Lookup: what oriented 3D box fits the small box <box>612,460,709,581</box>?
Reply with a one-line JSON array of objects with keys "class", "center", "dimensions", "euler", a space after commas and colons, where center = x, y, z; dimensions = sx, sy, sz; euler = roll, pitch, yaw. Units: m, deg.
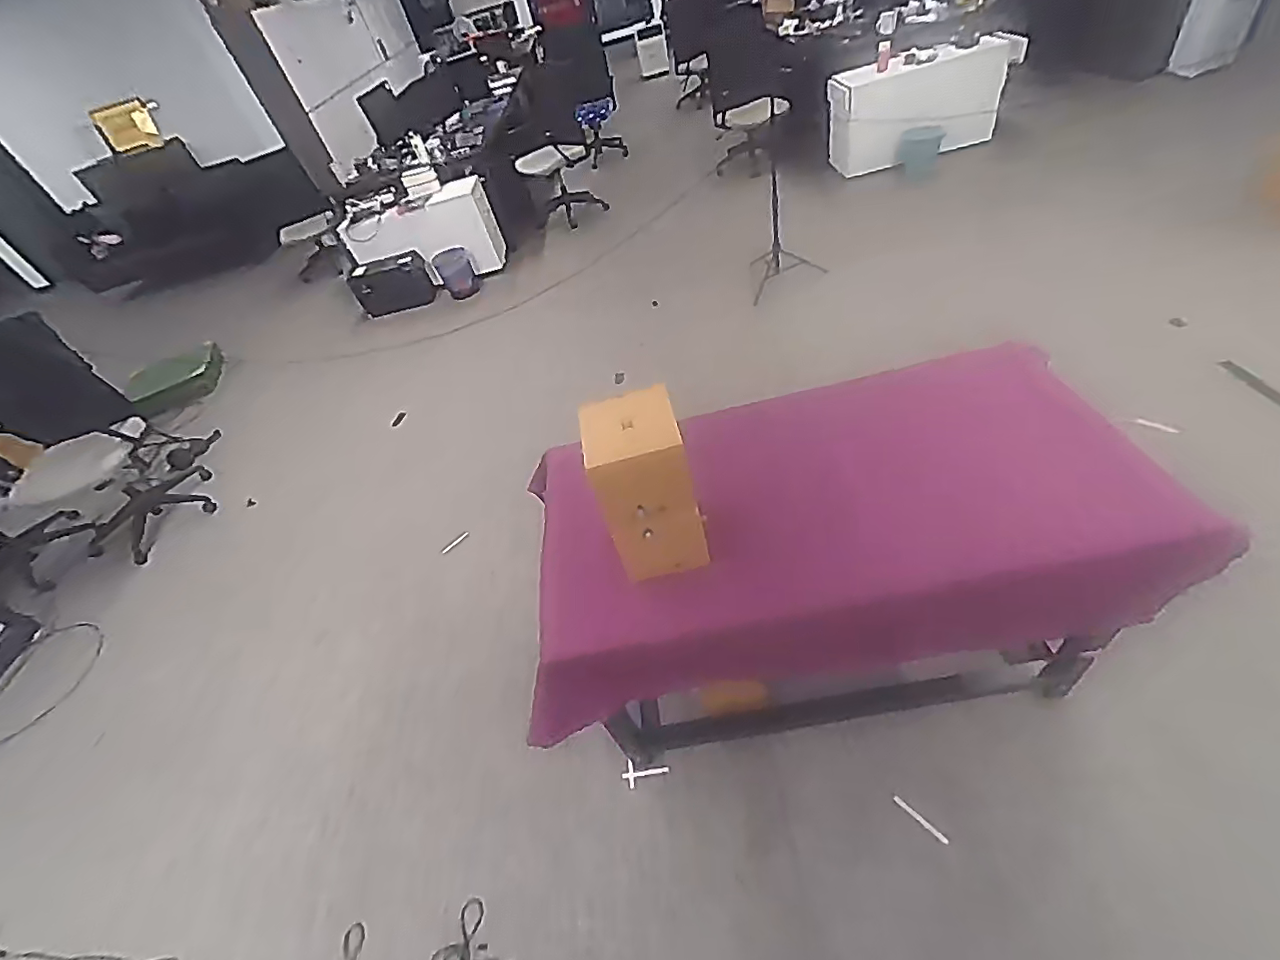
[{"class": "small box", "center": [0.037, 0.075, 1.092], "dimensions": [0.168, 0.176, 0.179], "euler": [-14, 44, 5]}]

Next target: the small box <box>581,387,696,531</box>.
[{"class": "small box", "center": [-0.003, -0.037, 0.979], "dimensions": [0.168, 0.176, 0.179], "euler": [-15, 45, 3]}]
